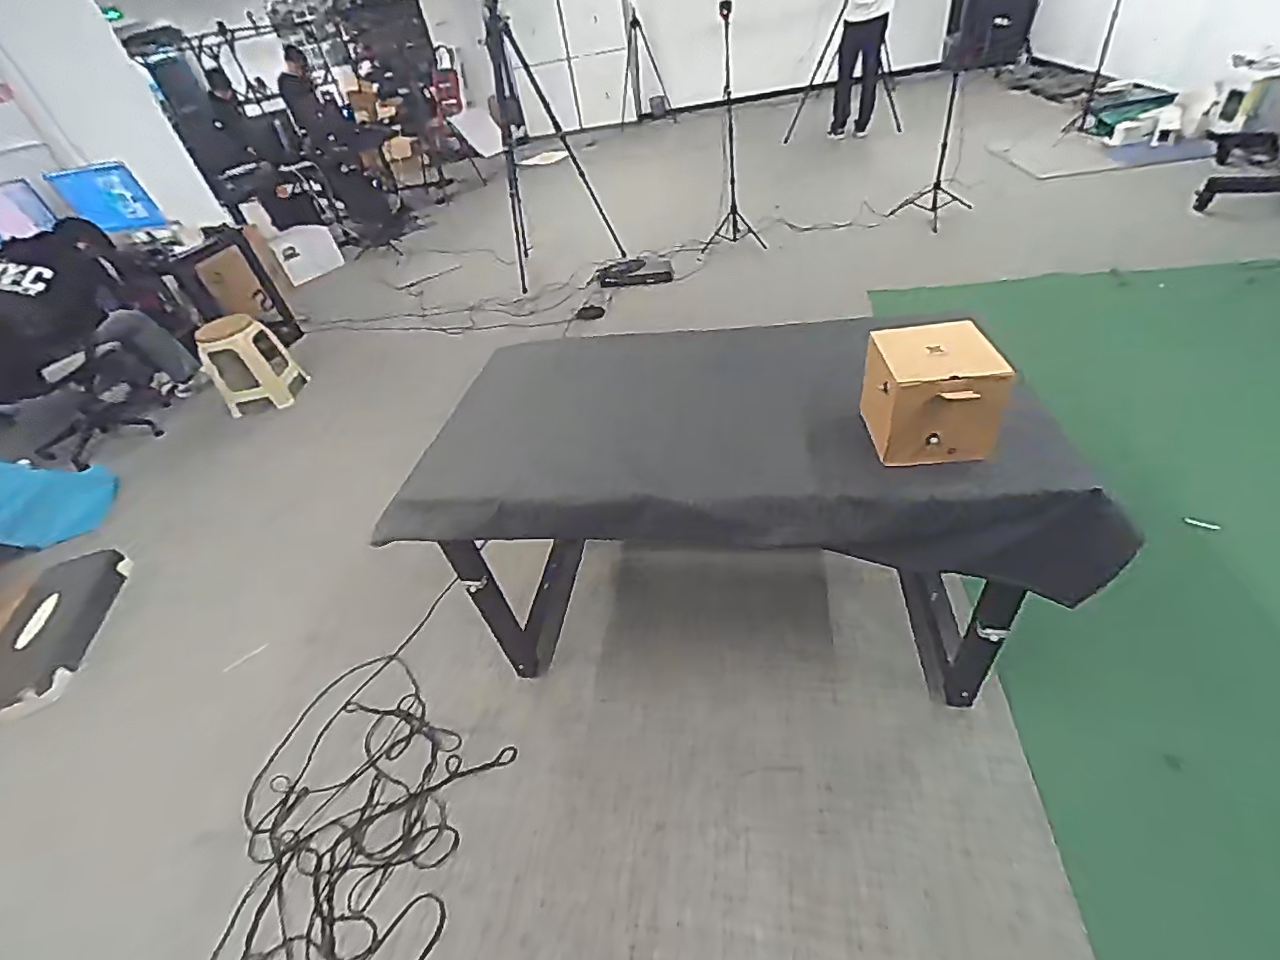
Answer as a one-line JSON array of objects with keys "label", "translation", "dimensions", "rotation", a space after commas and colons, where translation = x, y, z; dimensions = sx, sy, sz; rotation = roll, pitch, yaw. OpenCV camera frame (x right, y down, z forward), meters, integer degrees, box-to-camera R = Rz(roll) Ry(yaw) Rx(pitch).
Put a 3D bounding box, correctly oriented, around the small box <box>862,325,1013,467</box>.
[{"label": "small box", "translation": [0.488, -0.142, 0.922], "dimensions": [0.168, 0.176, 0.179], "rotation": [-5, 41, 9]}]
